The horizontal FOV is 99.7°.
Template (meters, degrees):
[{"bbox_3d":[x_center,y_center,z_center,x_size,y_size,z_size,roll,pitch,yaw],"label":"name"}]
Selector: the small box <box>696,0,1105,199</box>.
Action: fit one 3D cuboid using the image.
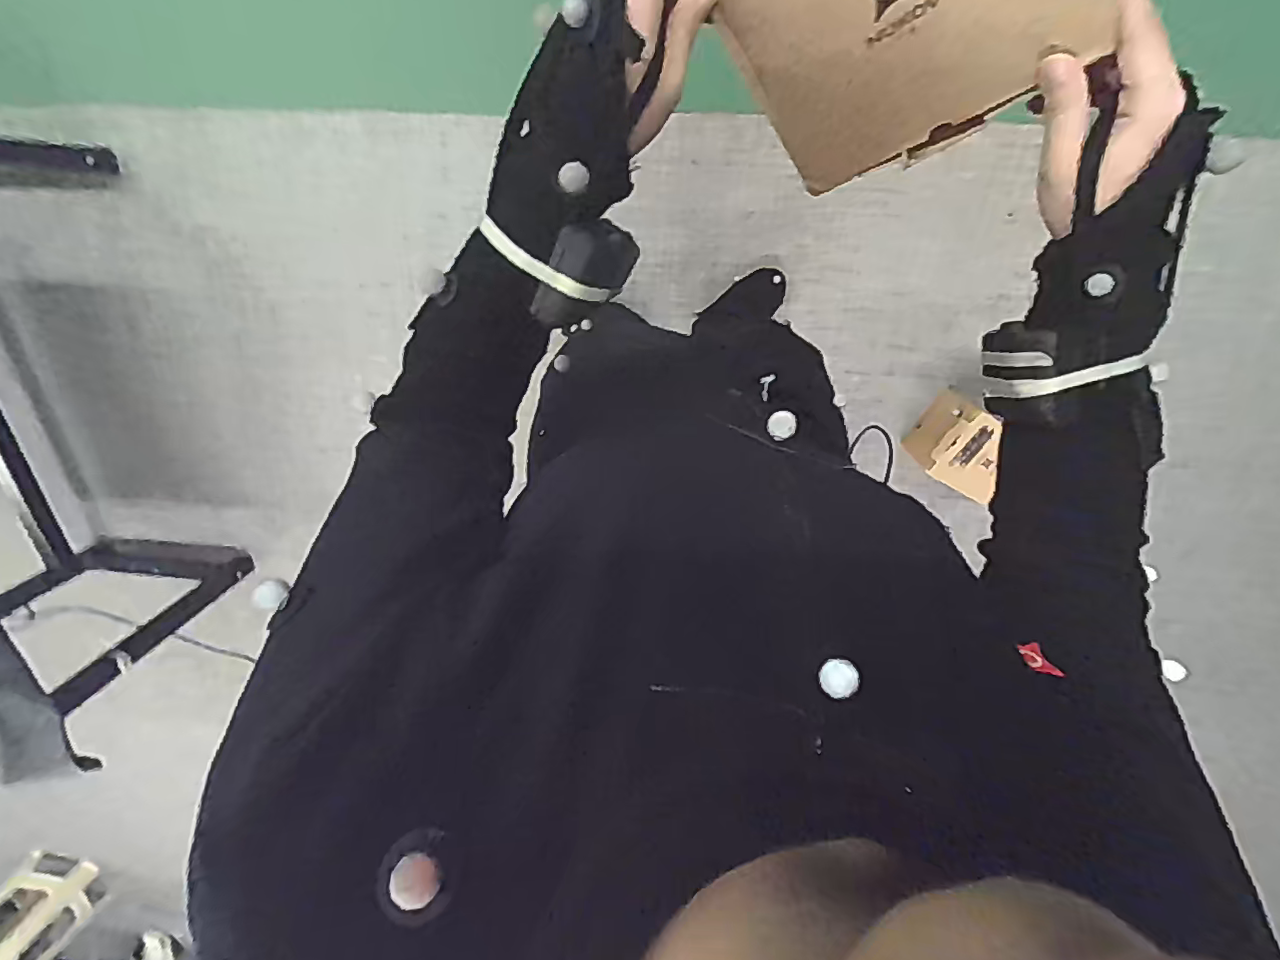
[{"bbox_3d":[0.144,-0.317,0.310,0.168,0.176,0.179,-11,145,41],"label":"small box"}]
